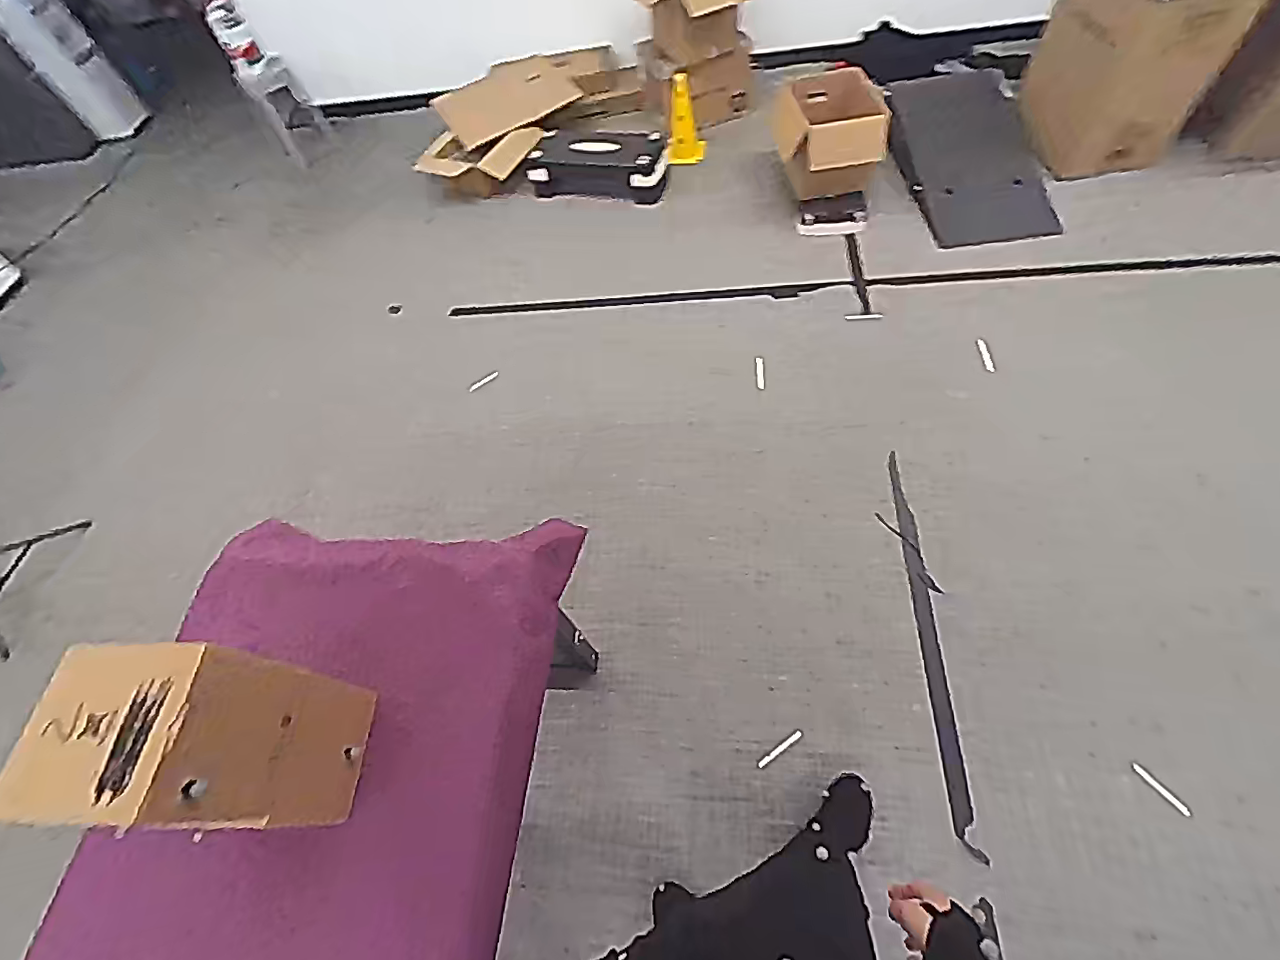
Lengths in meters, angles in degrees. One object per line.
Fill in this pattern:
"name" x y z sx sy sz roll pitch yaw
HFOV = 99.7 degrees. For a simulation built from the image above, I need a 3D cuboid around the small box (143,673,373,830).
"small box" -0.499 0.374 0.742 0.168 0.176 0.179 -4 58 7
